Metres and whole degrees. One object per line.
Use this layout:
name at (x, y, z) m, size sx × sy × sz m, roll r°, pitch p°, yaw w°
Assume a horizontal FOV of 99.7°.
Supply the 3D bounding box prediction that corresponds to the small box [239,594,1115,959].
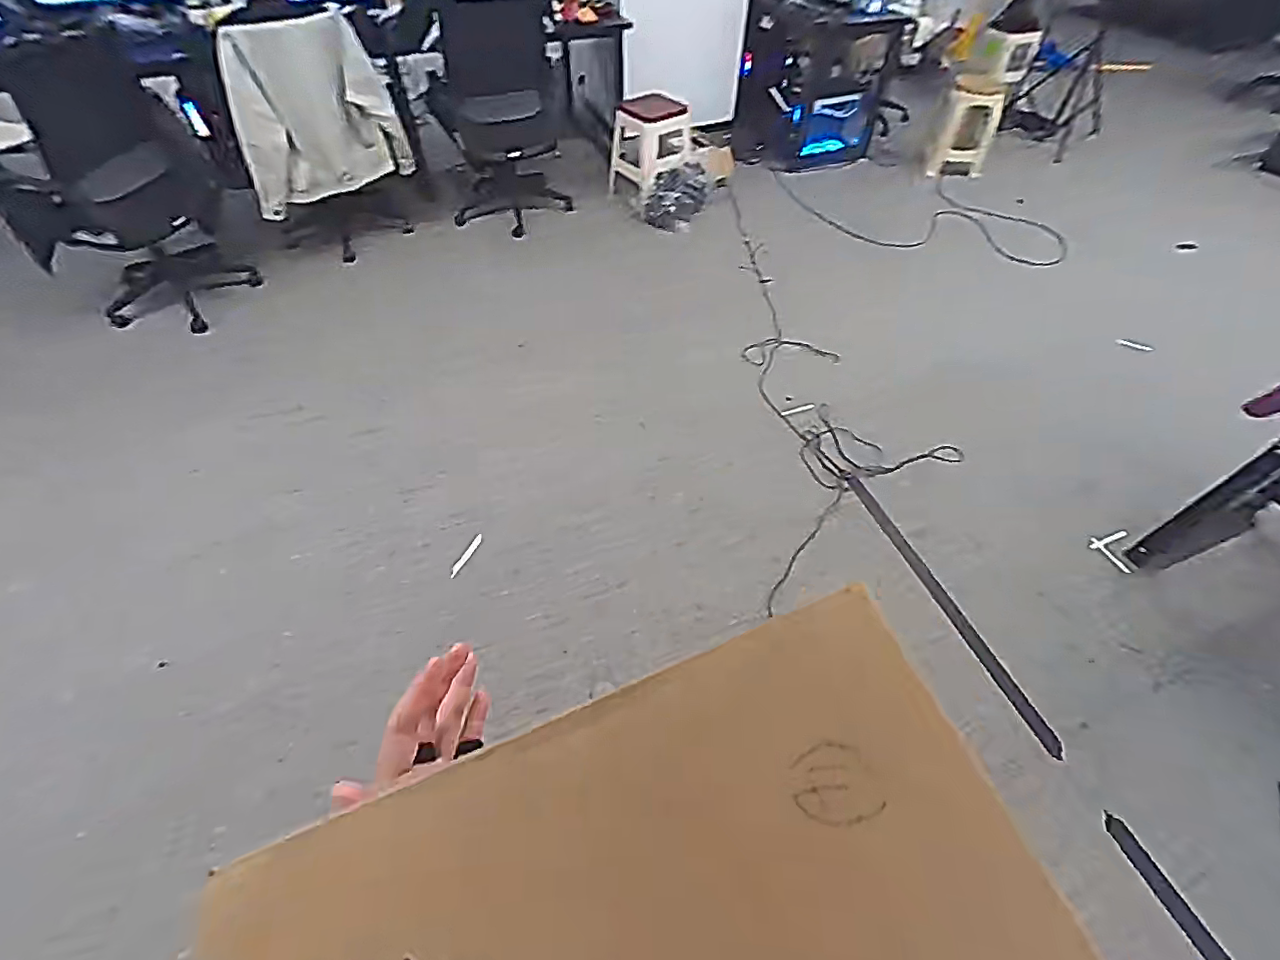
small box at (0.021, 0.163, 0.170) m, size 0.179 × 0.176 × 0.168 m, roll -21°, pitch 63°, yaw -7°
